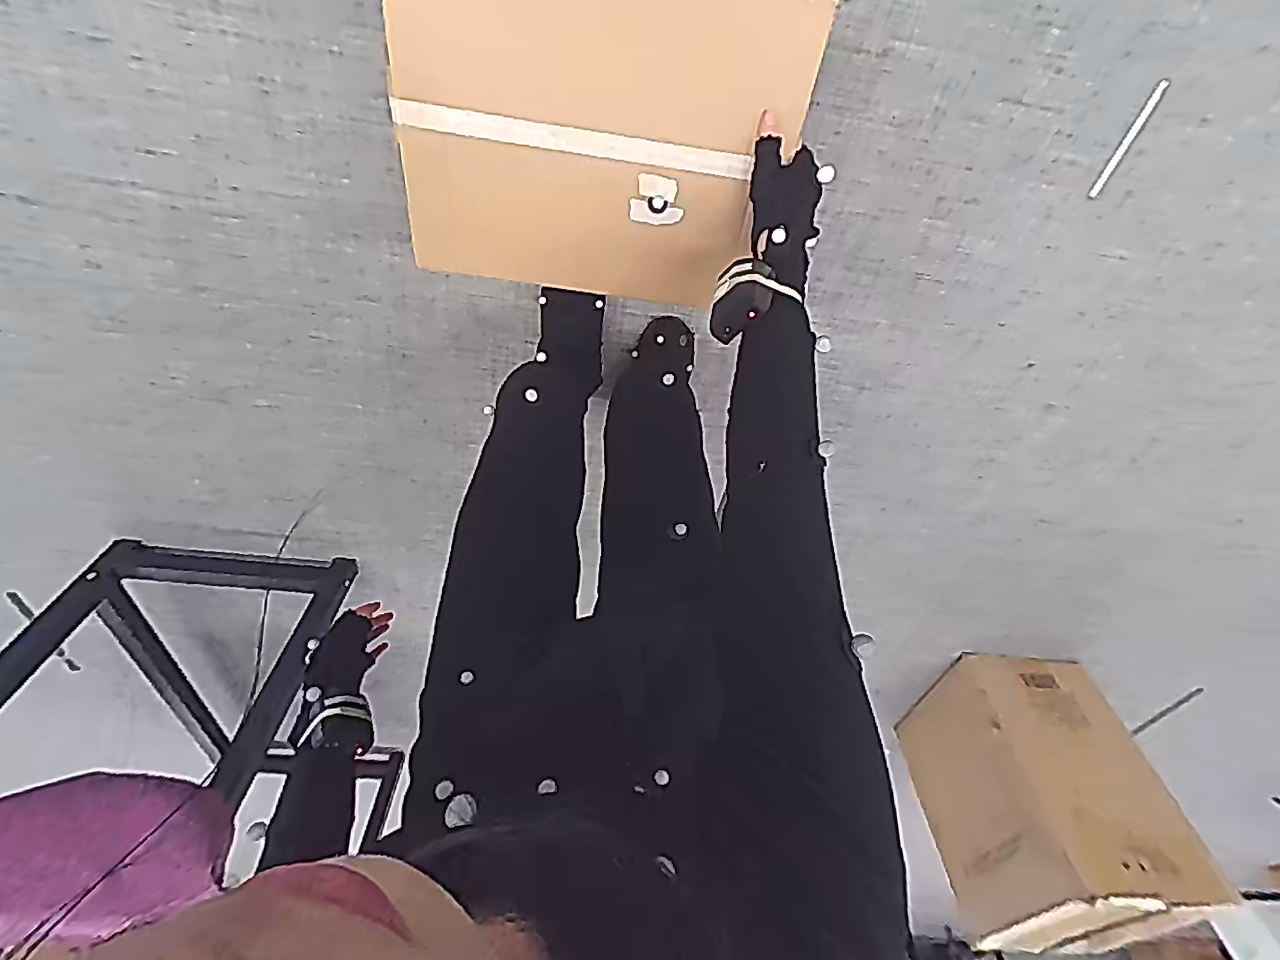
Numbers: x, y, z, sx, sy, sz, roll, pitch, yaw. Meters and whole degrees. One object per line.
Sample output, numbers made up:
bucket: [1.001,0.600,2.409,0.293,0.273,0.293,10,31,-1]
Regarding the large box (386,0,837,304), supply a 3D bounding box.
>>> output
large box: [-0.040,-0.440,0.656,0.408,0.320,0.320,6,129,-5]
